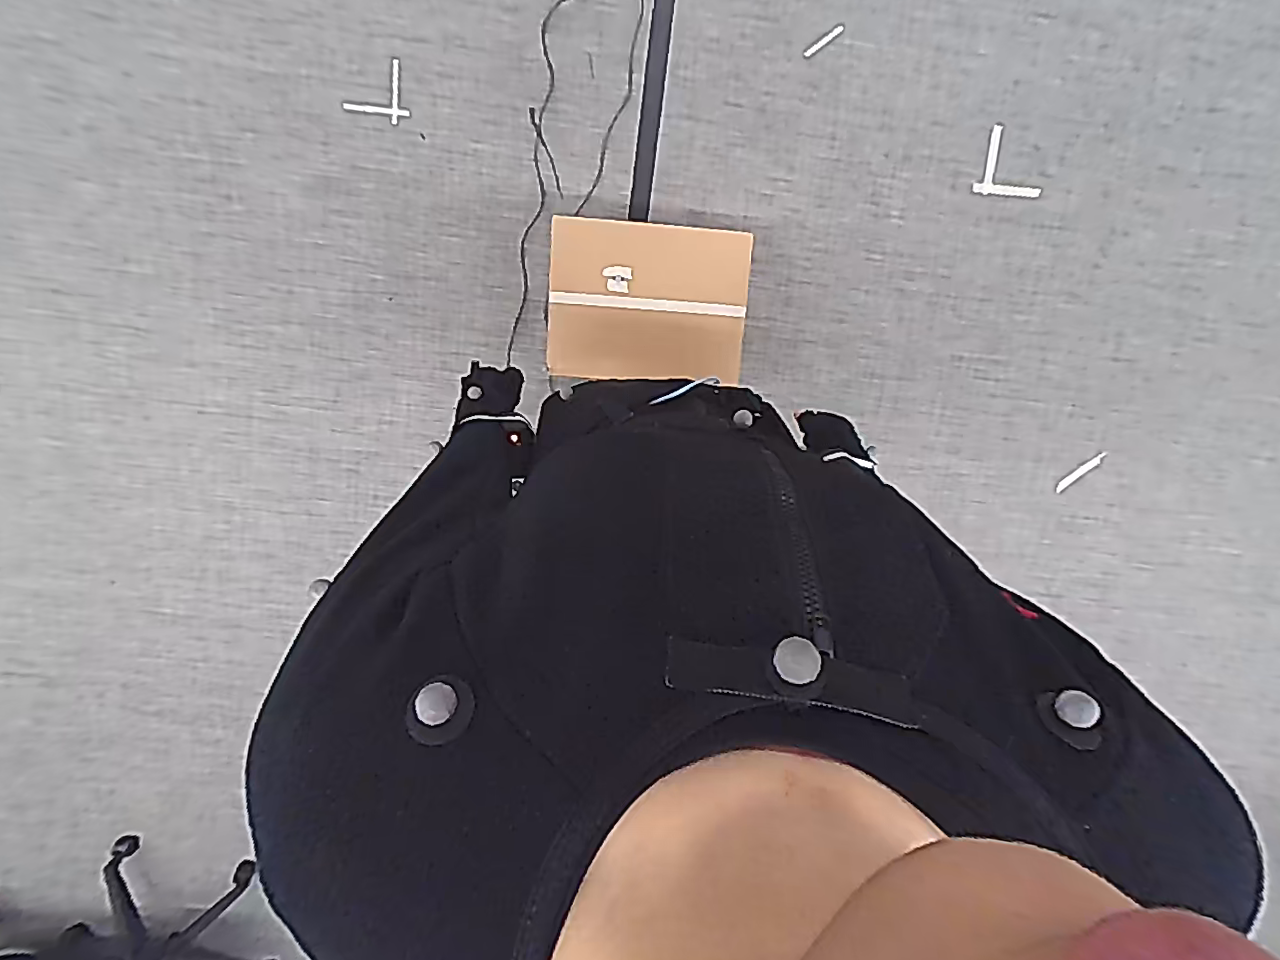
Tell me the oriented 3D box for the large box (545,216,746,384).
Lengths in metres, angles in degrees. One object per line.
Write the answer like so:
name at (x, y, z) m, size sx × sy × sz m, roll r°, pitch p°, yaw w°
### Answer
large box at (0.006, -0.397, 1.257) m, size 0.408 × 0.320 × 0.320 m, roll 4°, pitch 101°, yaw -2°
